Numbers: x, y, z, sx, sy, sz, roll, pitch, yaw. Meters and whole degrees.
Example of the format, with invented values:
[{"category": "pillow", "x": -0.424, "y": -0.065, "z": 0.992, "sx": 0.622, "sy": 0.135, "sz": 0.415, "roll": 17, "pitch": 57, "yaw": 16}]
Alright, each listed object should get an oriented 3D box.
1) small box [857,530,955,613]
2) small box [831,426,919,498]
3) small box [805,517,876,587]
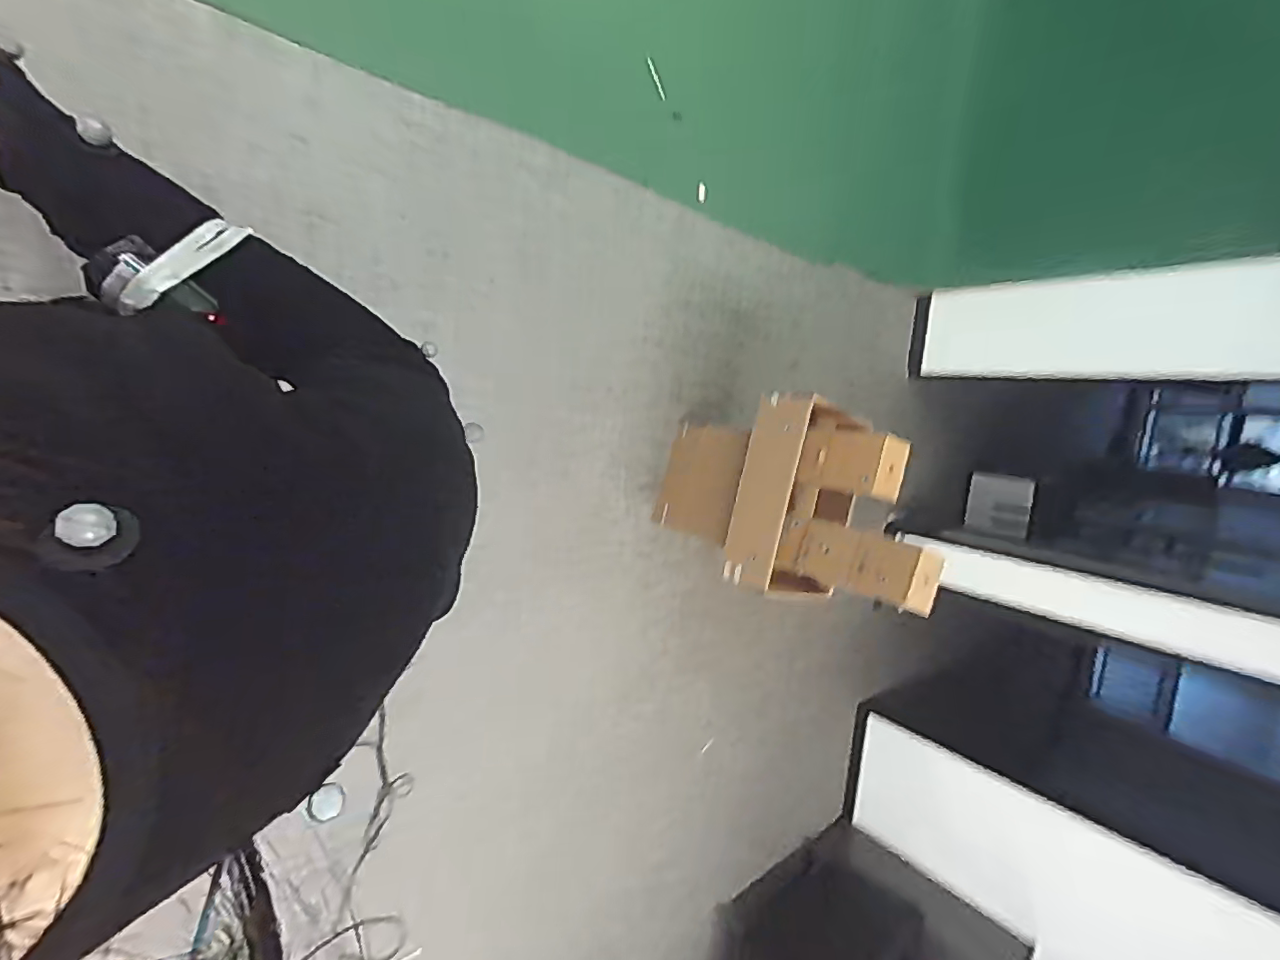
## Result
[{"category": "small box", "x": 0.719, "y": 0.244, "z": 1.472, "sx": 0.179, "sy": 0.176, "sz": 0.168, "roll": 23, "pitch": 86, "yaw": -41}, {"category": "small box", "x": 0.690, "y": -0.056, "z": 1.598, "sx": 0.168, "sy": 0.176, "sz": 0.179, "roll": 11, "pitch": 94, "yaw": -40}, {"category": "small box", "x": 0.617, "y": 0.217, "z": 1.597, "sx": 0.179, "sy": 0.176, "sz": 0.168, "roll": 21, "pitch": 87, "yaw": -40}]
